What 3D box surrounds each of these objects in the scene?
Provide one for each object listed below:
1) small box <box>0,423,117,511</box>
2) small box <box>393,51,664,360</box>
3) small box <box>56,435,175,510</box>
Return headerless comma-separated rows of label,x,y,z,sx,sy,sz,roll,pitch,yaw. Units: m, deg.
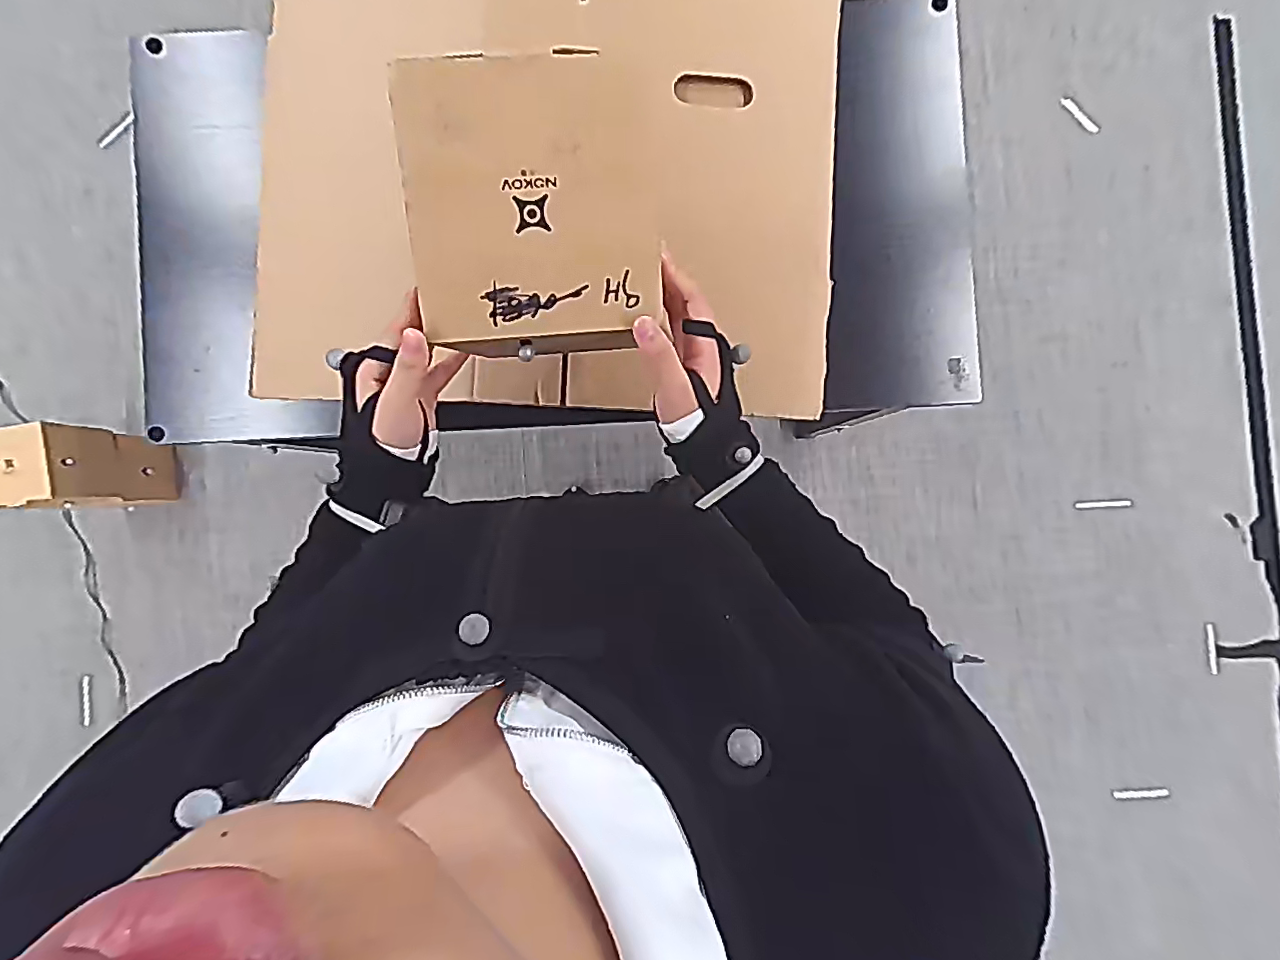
small box,-1.385,-0.026,1.265,0.168,0.176,0.179,-10,88,-1
small box,-0.074,-0.195,0.434,0.168,0.176,0.179,-5,99,-2
small box,-1.383,-0.017,1.427,0.168,0.176,0.179,-7,89,0
